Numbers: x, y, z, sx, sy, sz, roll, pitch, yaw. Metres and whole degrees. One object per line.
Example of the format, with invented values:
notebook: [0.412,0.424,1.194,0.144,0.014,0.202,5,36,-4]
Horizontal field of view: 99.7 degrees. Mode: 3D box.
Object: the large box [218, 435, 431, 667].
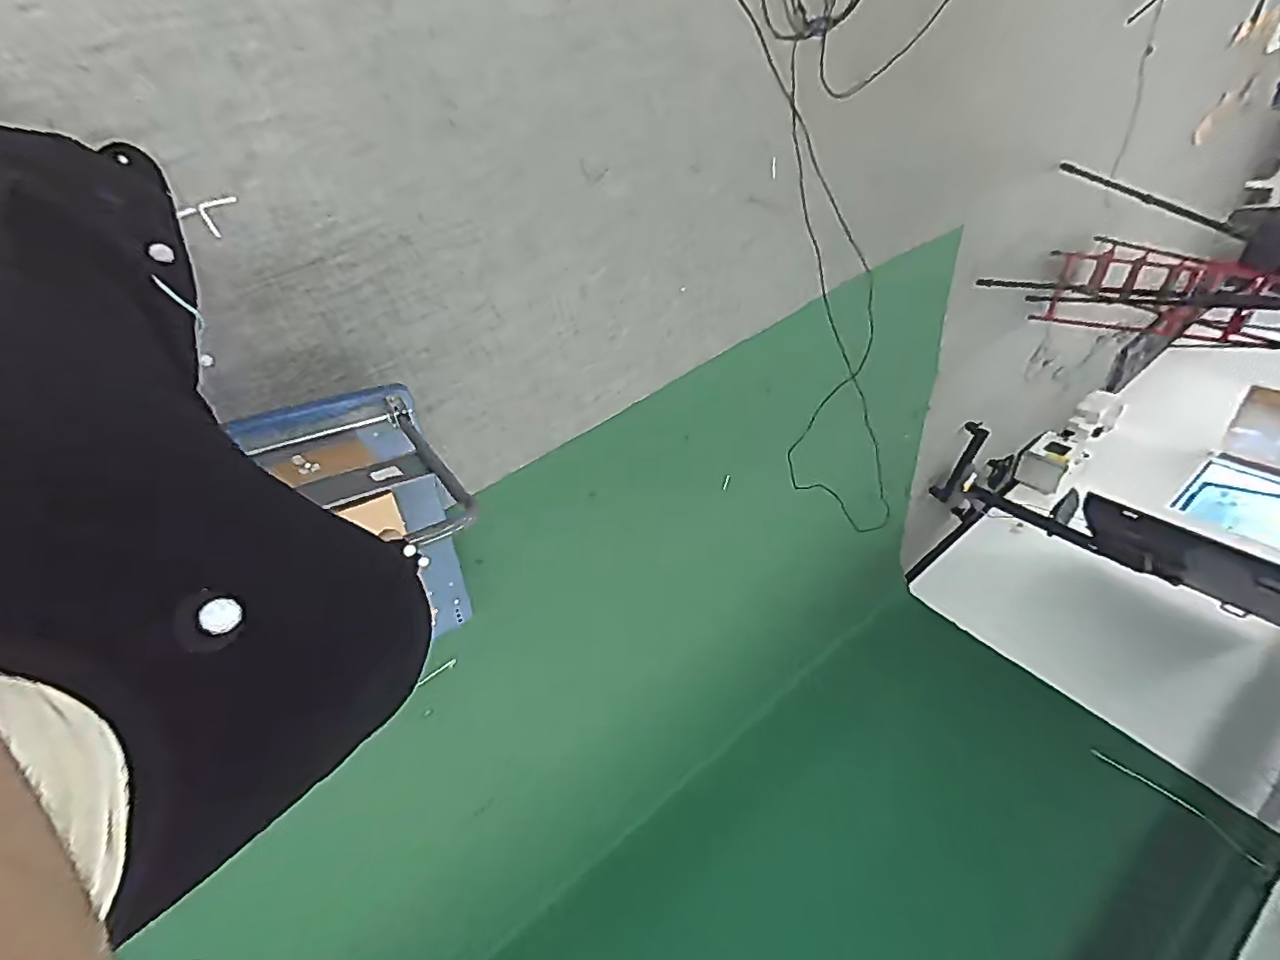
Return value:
large box: [-0.760,0.160,1.326,0.320,0.320,0.408,-22,129,-27]
